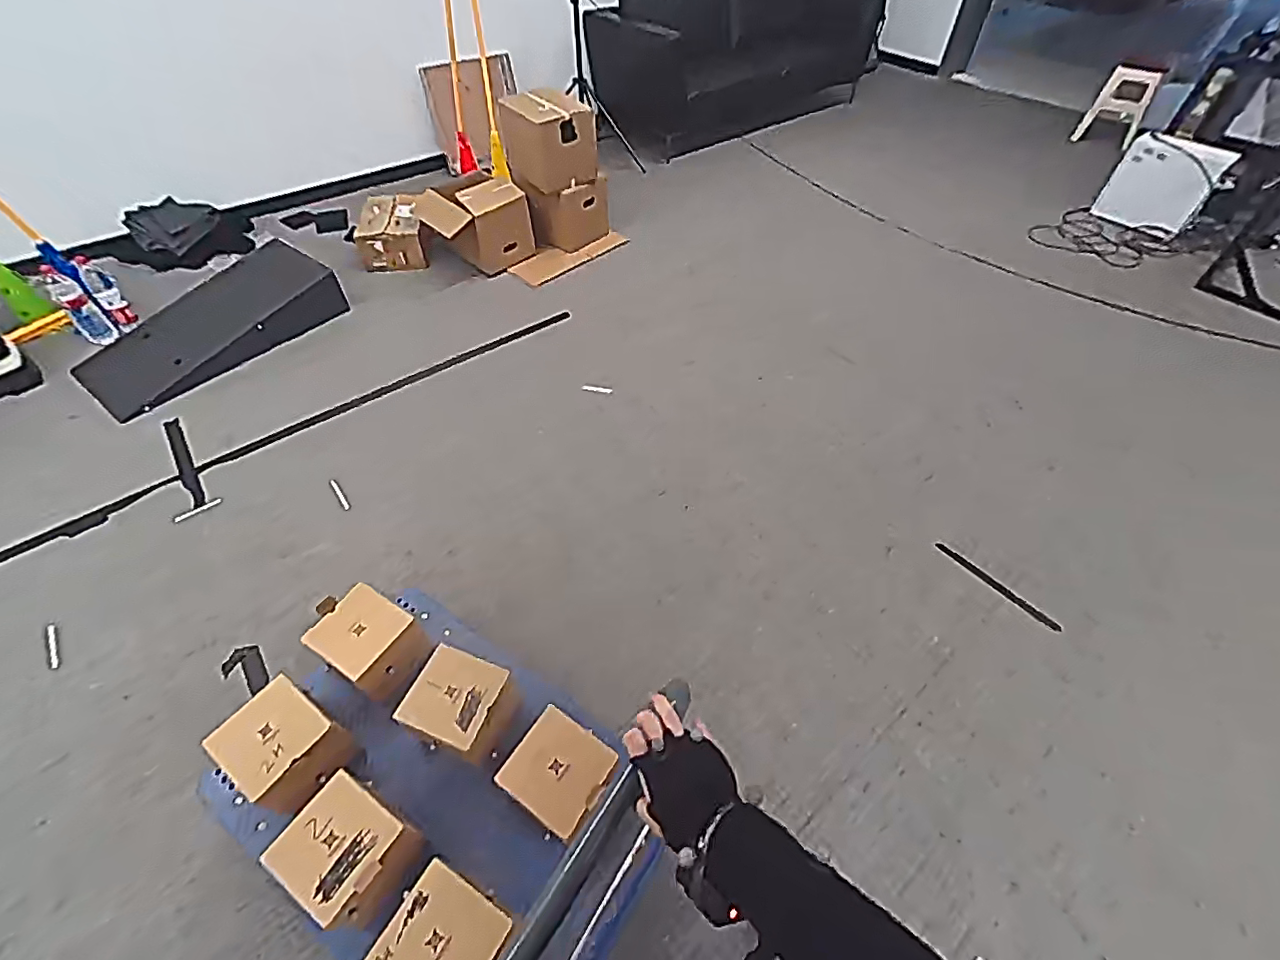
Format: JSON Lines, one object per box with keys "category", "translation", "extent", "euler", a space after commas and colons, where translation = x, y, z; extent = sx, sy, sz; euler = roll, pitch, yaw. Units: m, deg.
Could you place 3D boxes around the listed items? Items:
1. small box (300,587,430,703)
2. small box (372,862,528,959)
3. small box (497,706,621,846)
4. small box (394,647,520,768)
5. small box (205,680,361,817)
{"category": "small box", "translation": [-0.613, 0.382, 1.230], "extent": [0.179, 0.176, 0.168], "euler": [24, 54, 18]}
{"category": "small box", "translation": [-0.308, 0.781, 0.904], "extent": [0.179, 0.176, 0.168], "euler": [24, 53, 17]}
{"category": "small box", "translation": [-0.151, 0.589, 1.071], "extent": [0.179, 0.176, 0.168], "euler": [27, 54, 20]}
{"category": "small box", "translation": [-0.375, 0.488, 1.148], "extent": [0.179, 0.176, 0.168], "euler": [16, 52, 13]}
{"category": "small box", "translation": [-0.707, 0.545, 1.089], "extent": [0.179, 0.176, 0.168], "euler": [29, 55, 20]}
